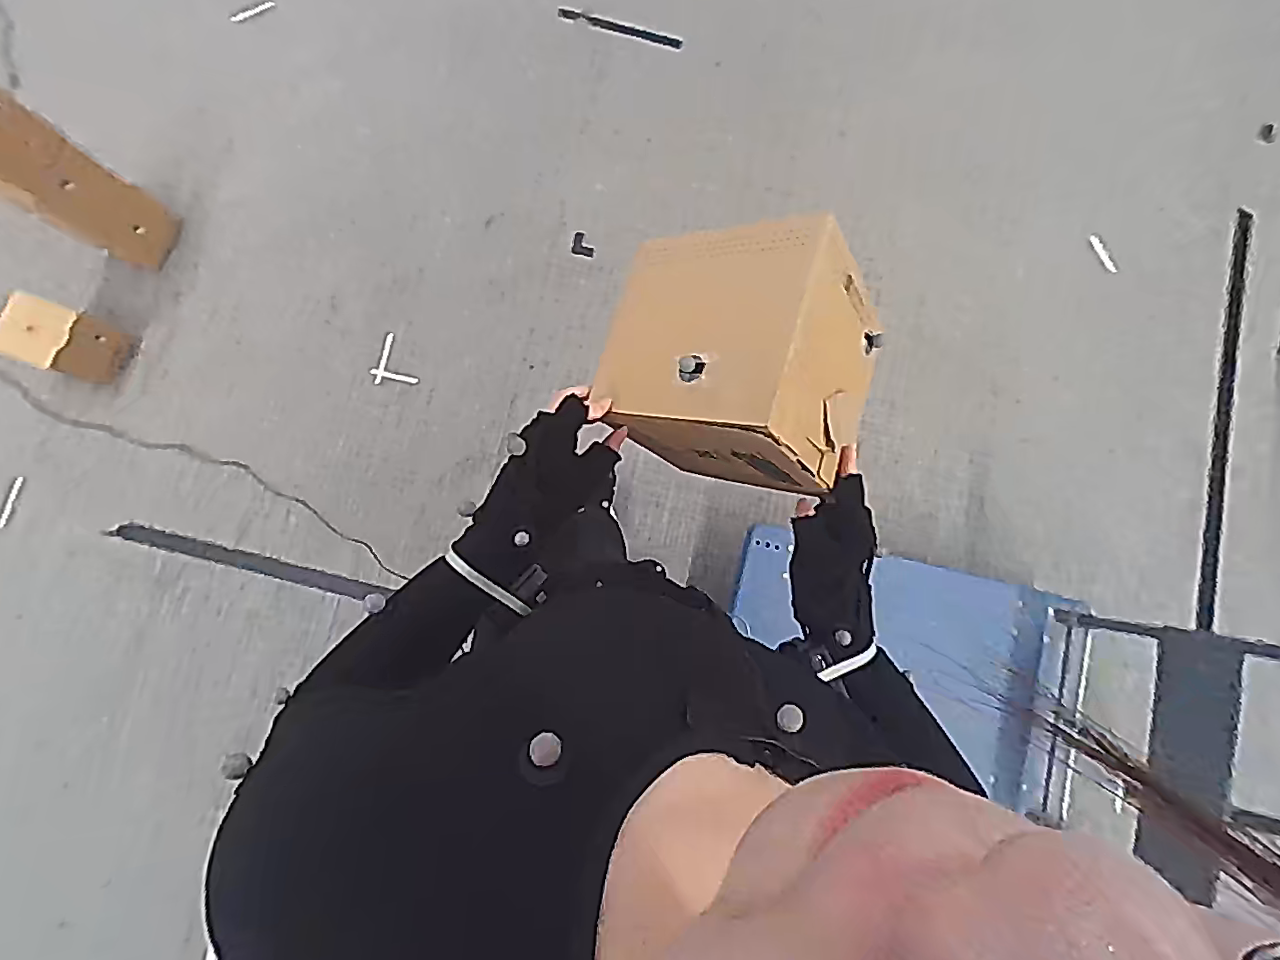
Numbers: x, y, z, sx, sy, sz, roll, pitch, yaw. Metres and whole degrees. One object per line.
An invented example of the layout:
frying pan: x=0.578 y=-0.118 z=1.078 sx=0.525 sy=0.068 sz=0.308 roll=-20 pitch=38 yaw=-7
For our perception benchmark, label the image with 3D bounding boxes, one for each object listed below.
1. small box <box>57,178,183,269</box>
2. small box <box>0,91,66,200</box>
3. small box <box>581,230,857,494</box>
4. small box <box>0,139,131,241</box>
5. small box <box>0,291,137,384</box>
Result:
small box: x=-1.436 y=-0.720 z=1.503 sx=0.168 sy=0.176 sz=0.179 roll=17 pitch=84 yaw=0
small box: x=-1.431 y=-0.751 z=1.176 sx=0.168 sy=0.176 sz=0.179 roll=17 pitch=83 yaw=1
small box: x=0.080 y=-0.098 z=0.484 sx=0.179 sy=0.168 sz=0.176 roll=11 pitch=80 yaw=39
small box: x=-1.434 y=-0.730 z=1.338 sx=0.168 sy=0.176 sz=0.179 roll=19 pitch=83 yaw=1
small box: x=-1.537 y=-0.374 z=1.463 sx=0.179 sy=0.176 sz=0.168 roll=20 pitch=83 yaw=2
